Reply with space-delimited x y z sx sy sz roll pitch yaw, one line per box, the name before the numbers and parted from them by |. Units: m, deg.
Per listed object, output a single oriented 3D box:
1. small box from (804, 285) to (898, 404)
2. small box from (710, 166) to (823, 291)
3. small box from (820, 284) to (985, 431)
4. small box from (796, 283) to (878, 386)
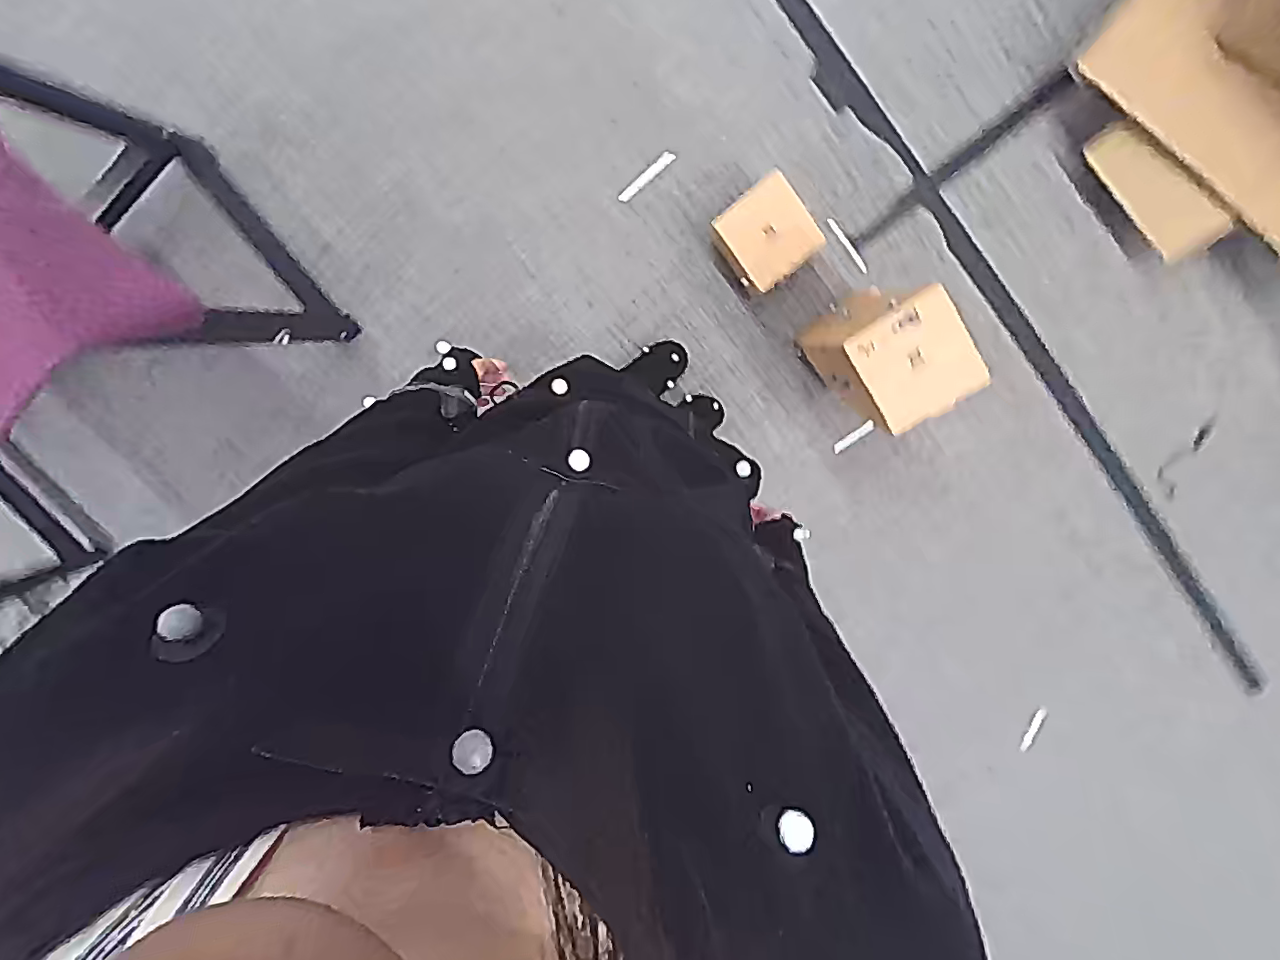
small box | 0.451 -0.260 1.077 0.168 0.176 0.179 -36 101 14
small box | 0.267 -0.537 1.187 0.168 0.176 0.179 -37 100 14
small box | 0.434 -0.212 0.921 0.168 0.176 0.179 -32 102 13
small box | 0.475 -0.320 1.230 0.179 0.176 0.168 -38 100 13
